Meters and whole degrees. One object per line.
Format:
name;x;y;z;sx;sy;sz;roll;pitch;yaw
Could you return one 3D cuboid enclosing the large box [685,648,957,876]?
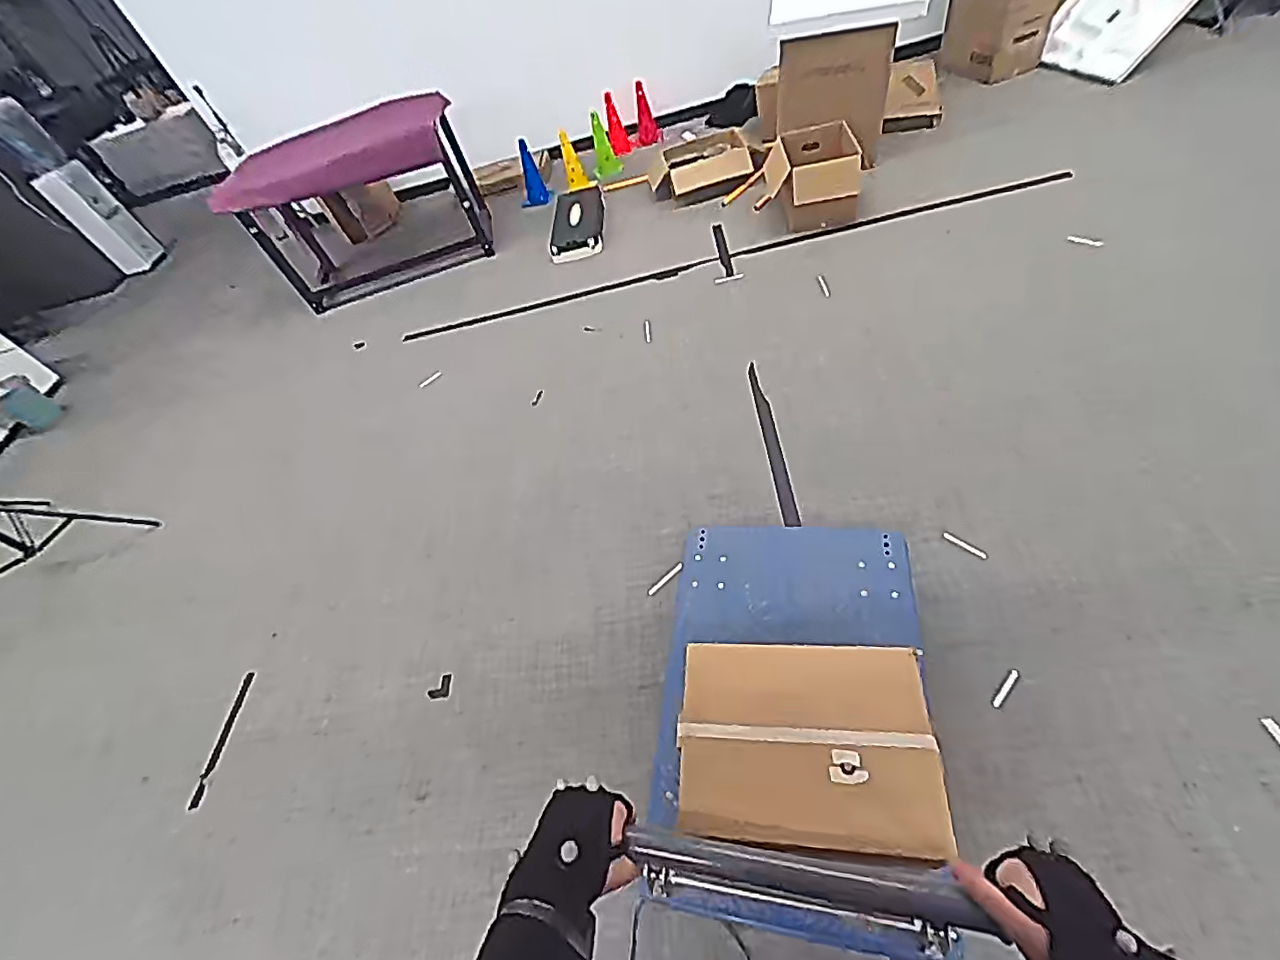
large box;0.304;0.527;1.018;0.408;0.320;0.320;-3;51;13
